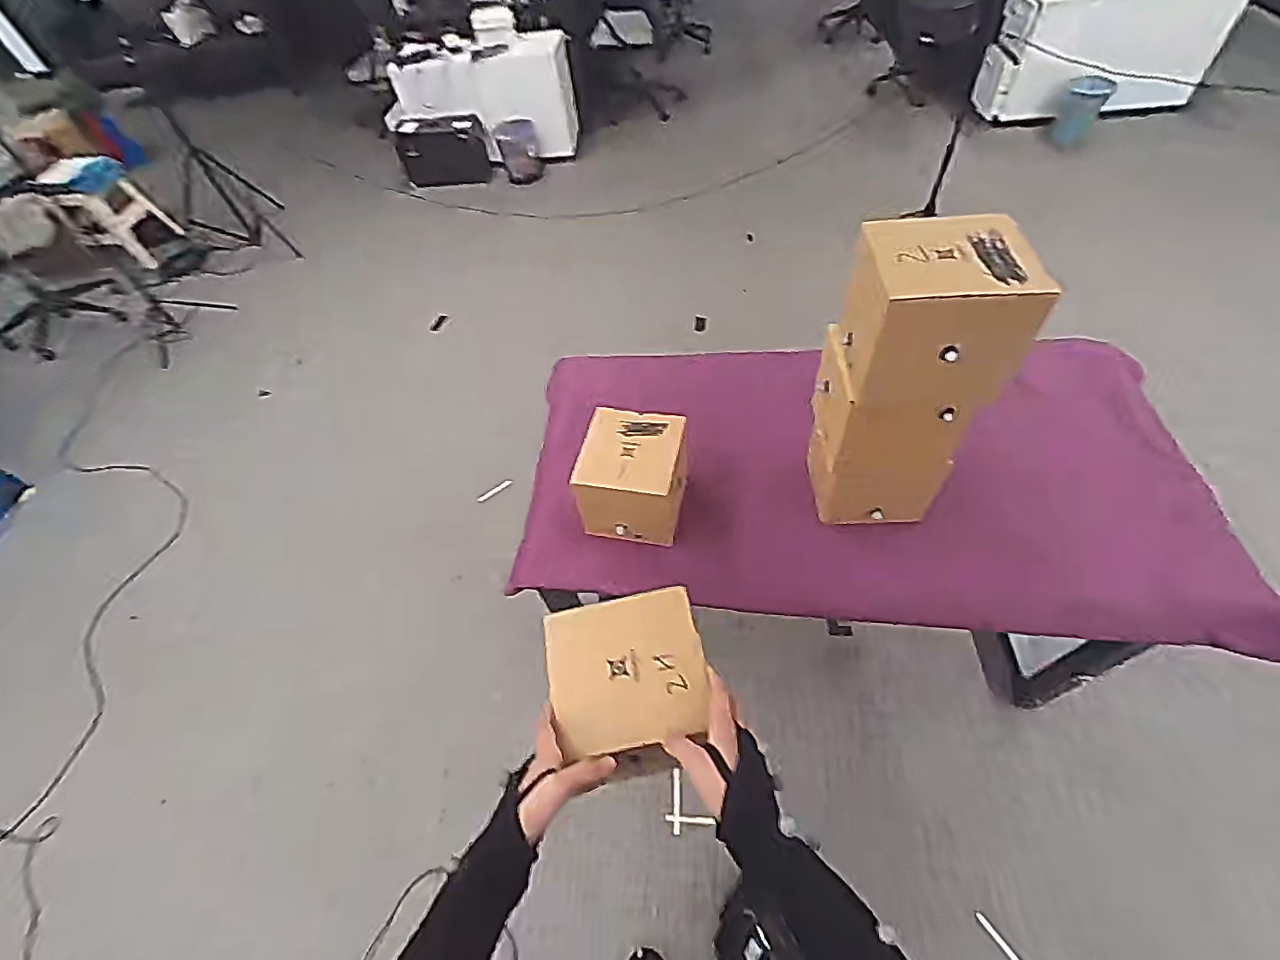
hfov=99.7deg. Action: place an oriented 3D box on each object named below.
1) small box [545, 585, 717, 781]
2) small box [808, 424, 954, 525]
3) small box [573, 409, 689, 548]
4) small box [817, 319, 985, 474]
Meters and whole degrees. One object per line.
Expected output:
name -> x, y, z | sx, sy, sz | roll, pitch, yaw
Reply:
small box -> -0.008, 0.252, 0.660 | 0.179, 0.176, 0.168 | -11, 53, -2
small box -> 0.410, -0.033, 0.954 | 0.179, 0.176, 0.168 | -2, 52, 5
small box -> -0.007, -0.002, 0.981 | 0.168, 0.176, 0.179 | 8, 56, 12
small box -> 0.374, -0.121, 0.820 | 0.179, 0.176, 0.168 | -2, 53, 5
